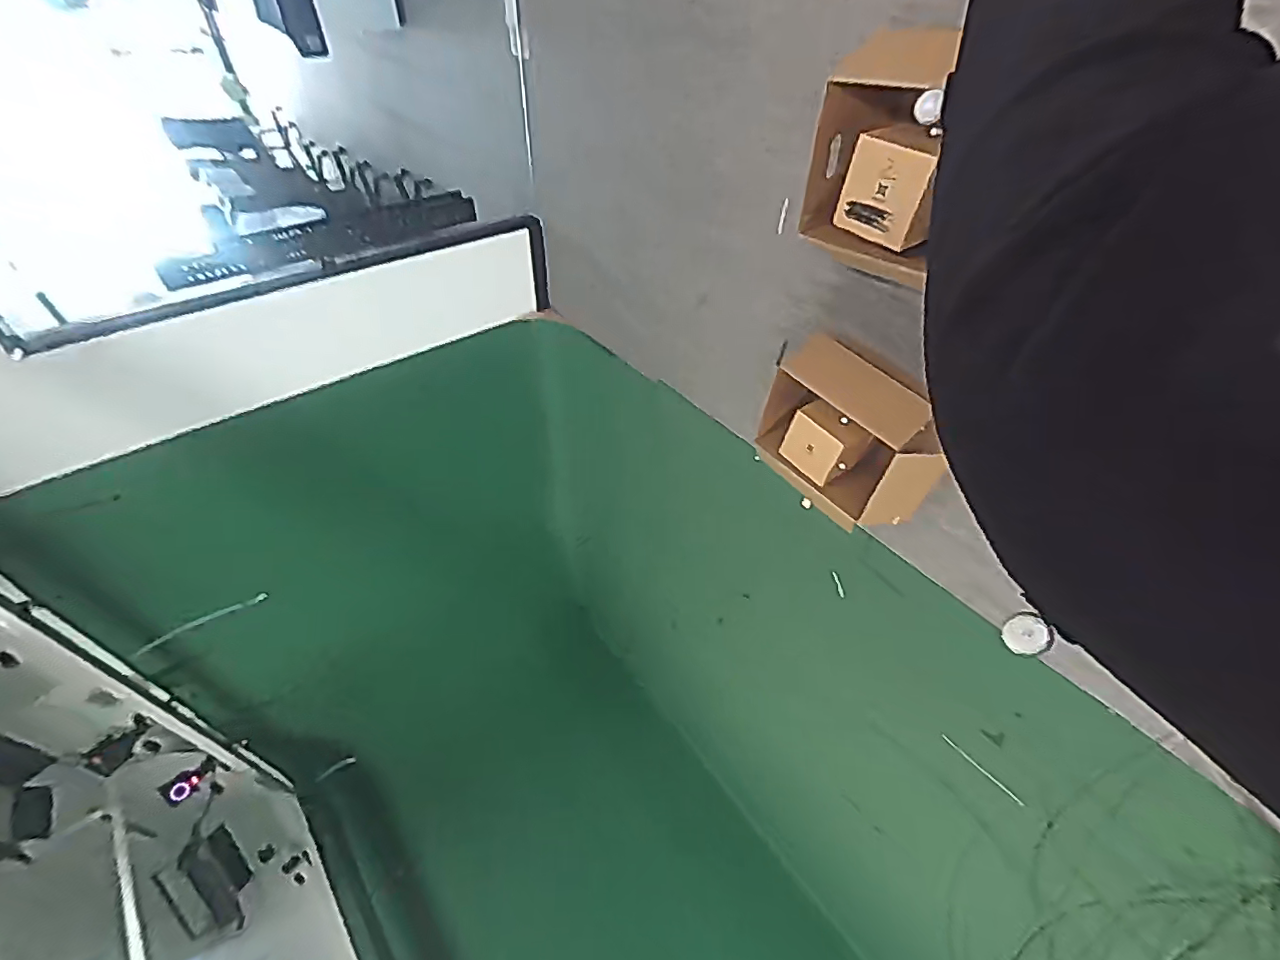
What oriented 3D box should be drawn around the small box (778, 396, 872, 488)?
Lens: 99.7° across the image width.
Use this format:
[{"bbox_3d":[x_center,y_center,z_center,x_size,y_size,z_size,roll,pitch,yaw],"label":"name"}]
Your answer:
[{"bbox_3d":[0.536,-0.114,1.561,0.168,0.176,0.179,45,146,27],"label":"small box"}]
